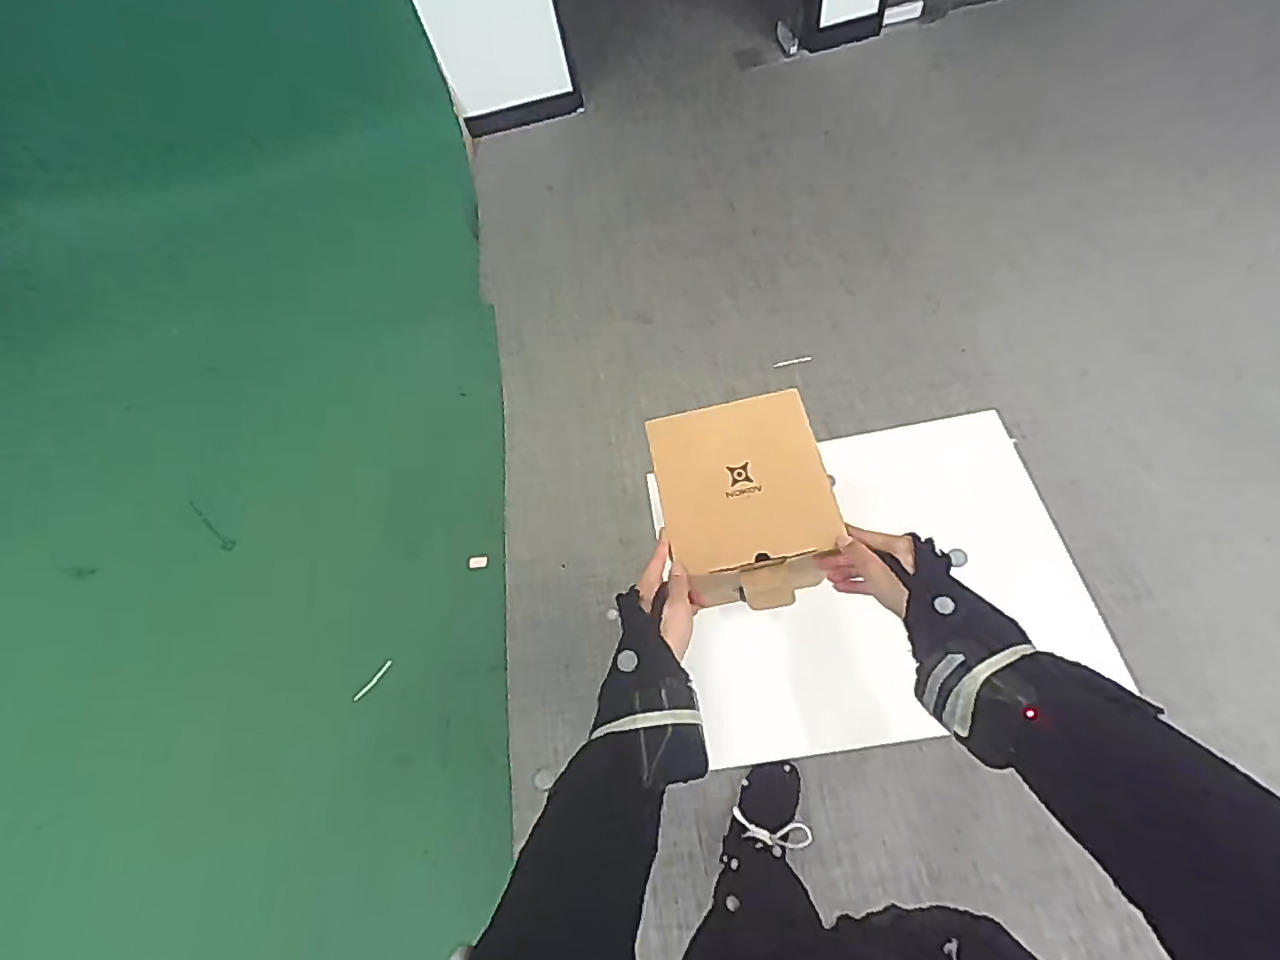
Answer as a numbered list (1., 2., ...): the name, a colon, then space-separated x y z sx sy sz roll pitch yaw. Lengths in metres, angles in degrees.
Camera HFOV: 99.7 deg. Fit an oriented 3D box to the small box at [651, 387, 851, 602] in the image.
1. small box: 0.111 0.025 0.607 0.168 0.176 0.179 -12 67 2
